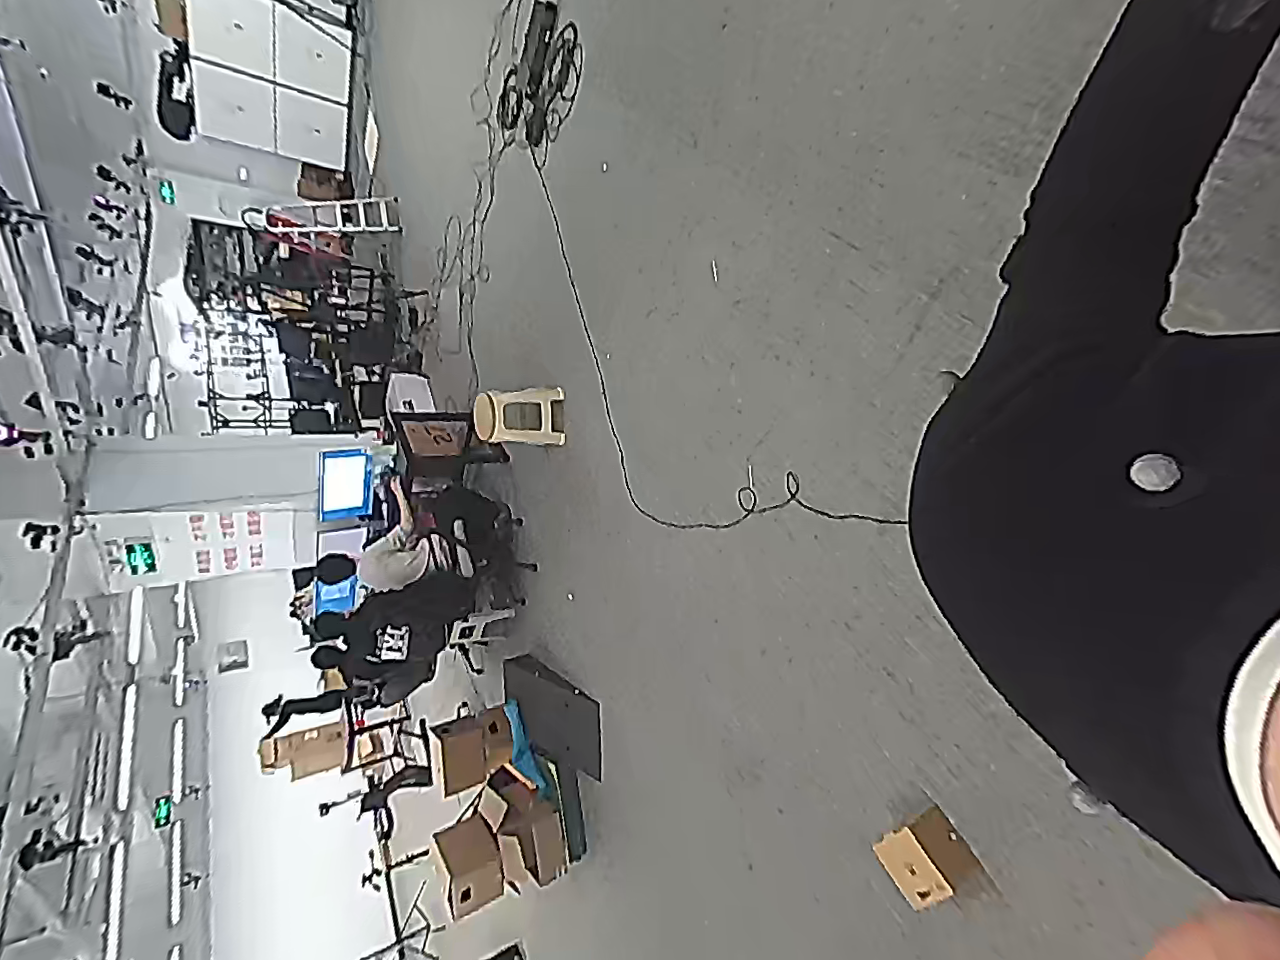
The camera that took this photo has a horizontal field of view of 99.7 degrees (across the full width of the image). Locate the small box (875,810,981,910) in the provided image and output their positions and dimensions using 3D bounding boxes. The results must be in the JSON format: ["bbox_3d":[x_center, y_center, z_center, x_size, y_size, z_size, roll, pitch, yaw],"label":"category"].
[{"bbox_3d":[0.837,1.094,1.573,0.179,0.176,0.168,56,135,34],"label":"small box"}]
